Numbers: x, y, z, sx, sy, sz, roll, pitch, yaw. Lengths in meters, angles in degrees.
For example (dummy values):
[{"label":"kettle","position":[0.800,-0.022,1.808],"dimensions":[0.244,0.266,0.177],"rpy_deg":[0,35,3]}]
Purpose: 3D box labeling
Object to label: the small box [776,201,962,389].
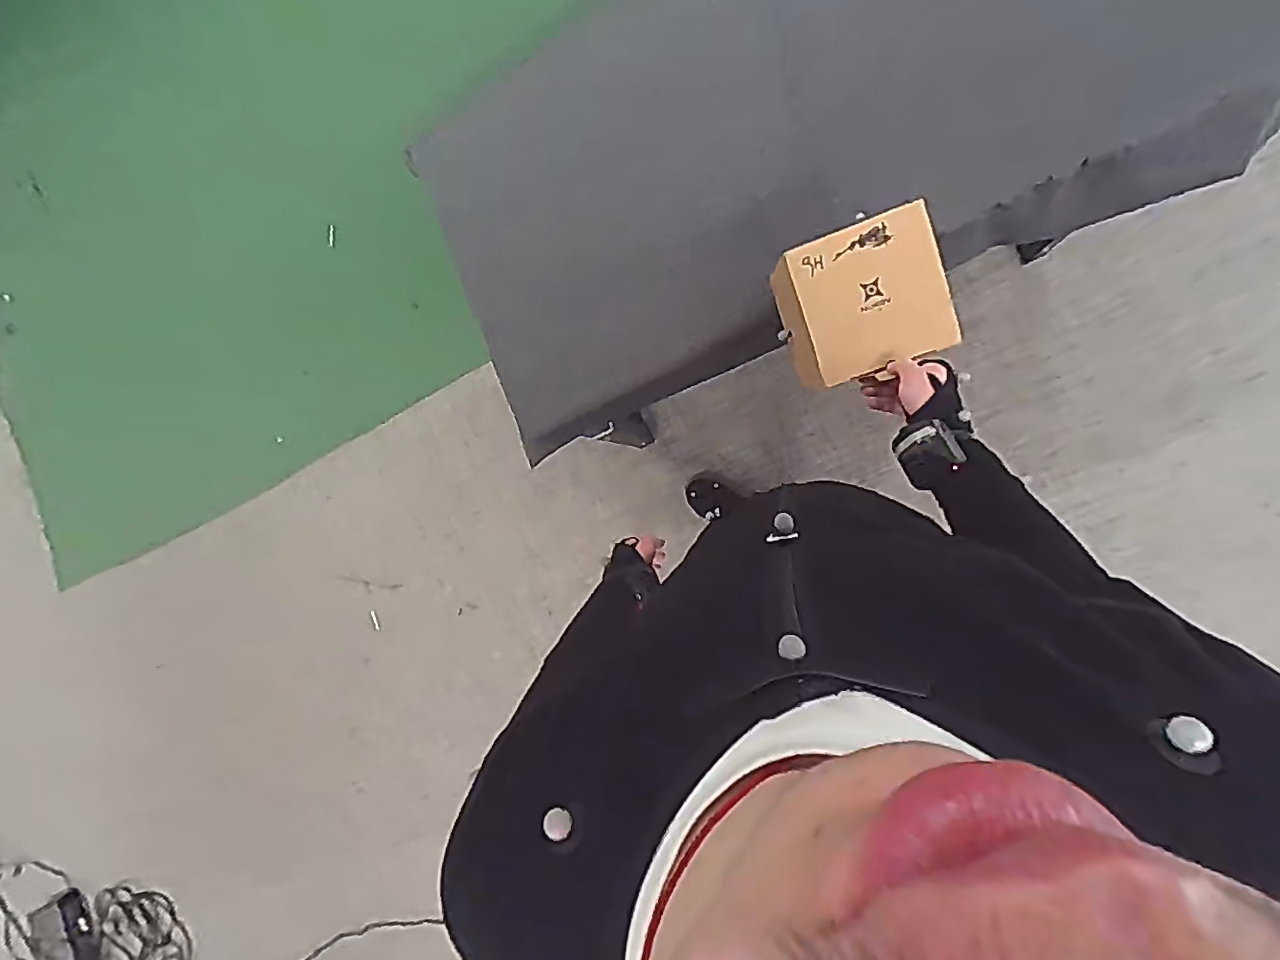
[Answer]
[{"label":"small box","position":[0.293,-0.233,0.727],"dimensions":[0.168,0.176,0.179],"rpy_deg":[-20,96,11]}]
